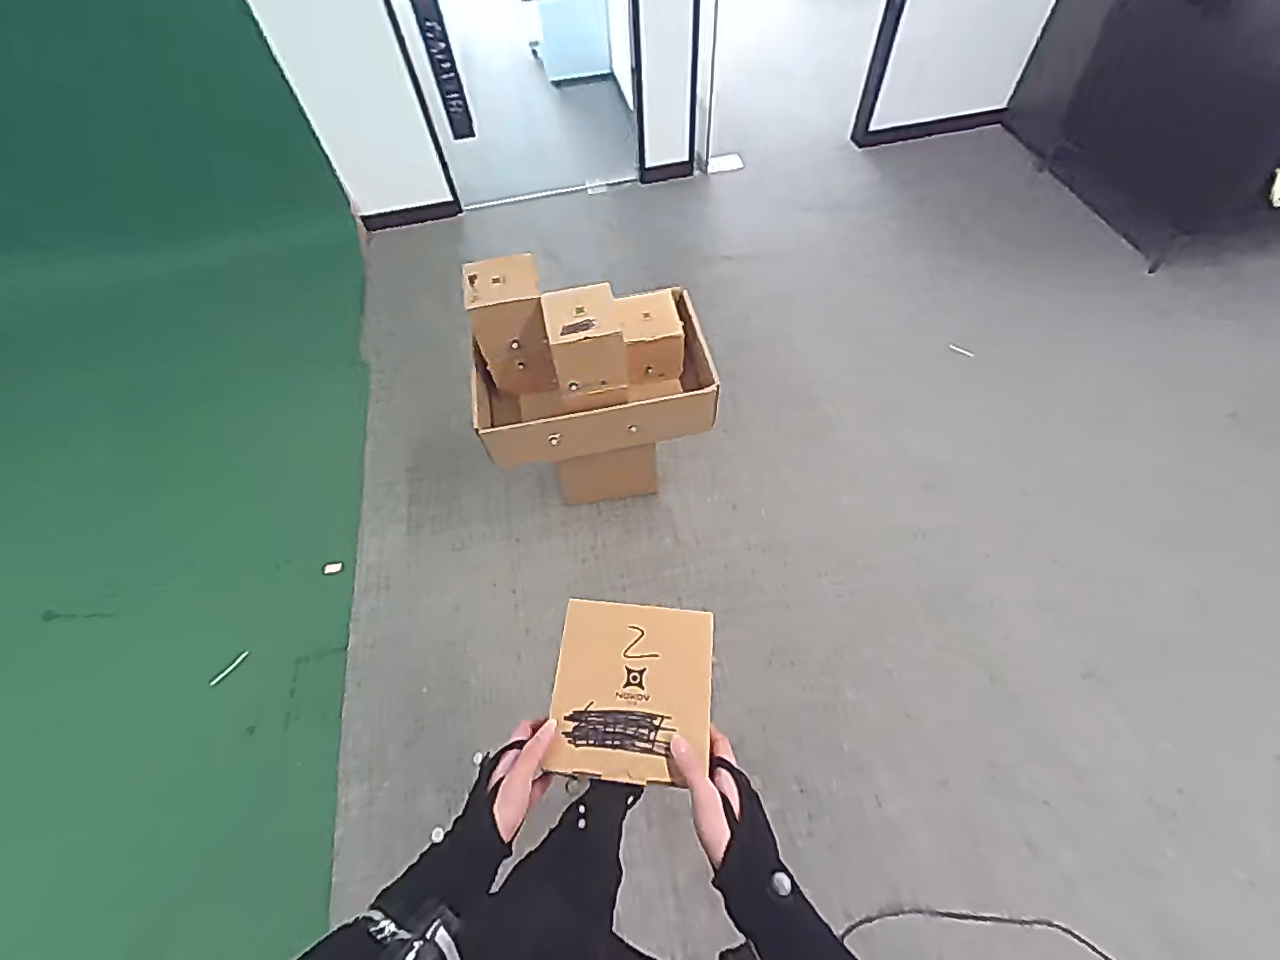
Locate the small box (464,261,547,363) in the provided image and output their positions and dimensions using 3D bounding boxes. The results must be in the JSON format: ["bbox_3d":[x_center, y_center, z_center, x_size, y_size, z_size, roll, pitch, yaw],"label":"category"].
[{"bbox_3d":[-0.331,-0.418,1.359,0.179,0.176,0.168,-10,58,-5],"label":"small box"}]

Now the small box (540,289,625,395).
[{"bbox_3d":[-0.132,-0.320,1.286,0.168,0.176,0.179,-11,57,-5],"label":"small box"}]
